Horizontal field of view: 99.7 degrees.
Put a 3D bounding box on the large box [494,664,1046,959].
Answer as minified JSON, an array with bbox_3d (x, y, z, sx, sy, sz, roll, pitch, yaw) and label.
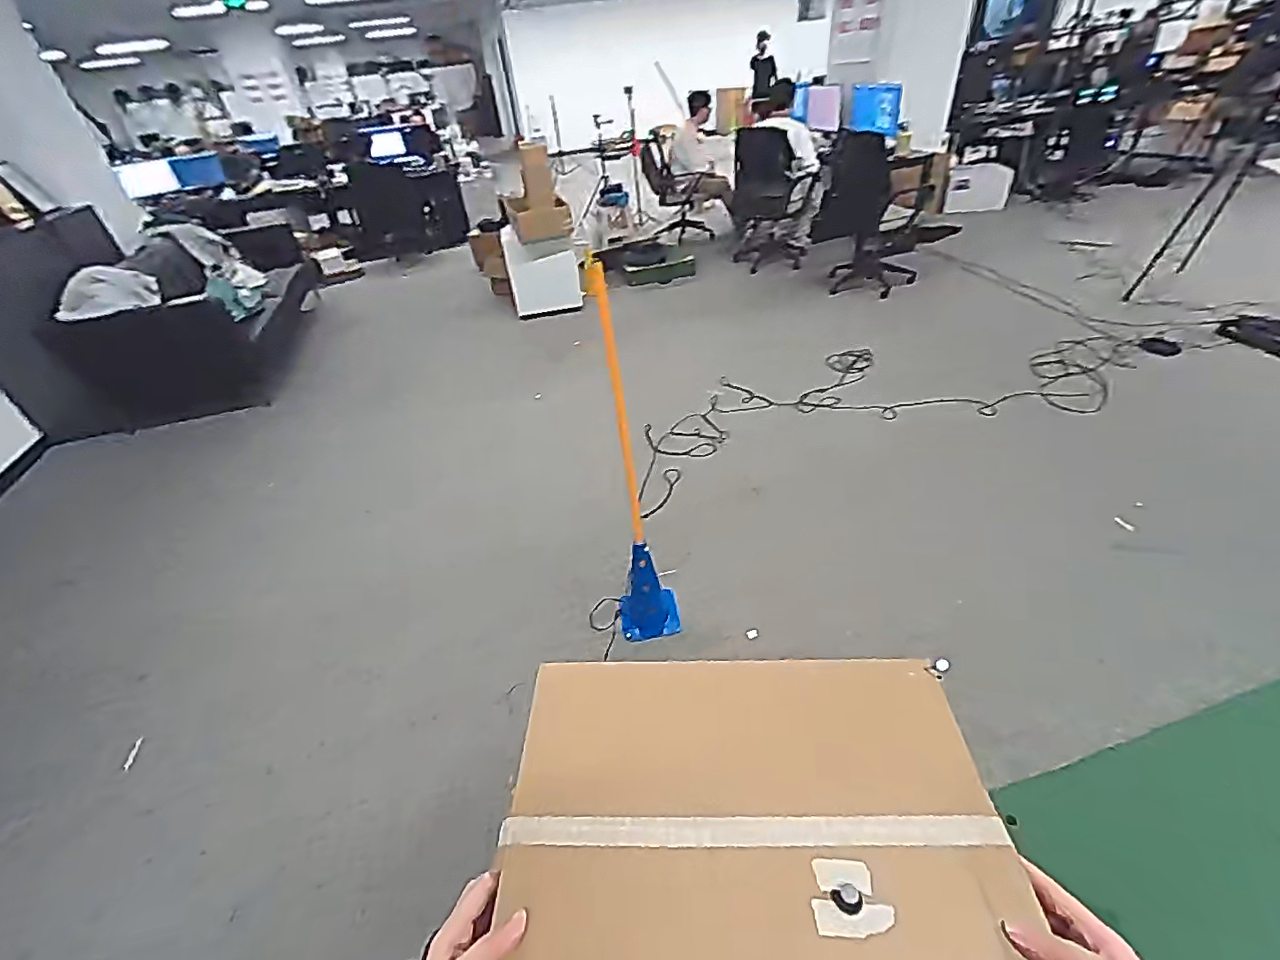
[{"bbox_3d":[0.095,0.411,0.544,0.408,0.320,0.320,-2,40,2],"label":"large box"}]

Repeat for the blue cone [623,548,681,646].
[{"bbox_3d":[0.023,0.362,1.795,0.193,0.380,0.192,-9,38,-2],"label":"blue cone"}]
